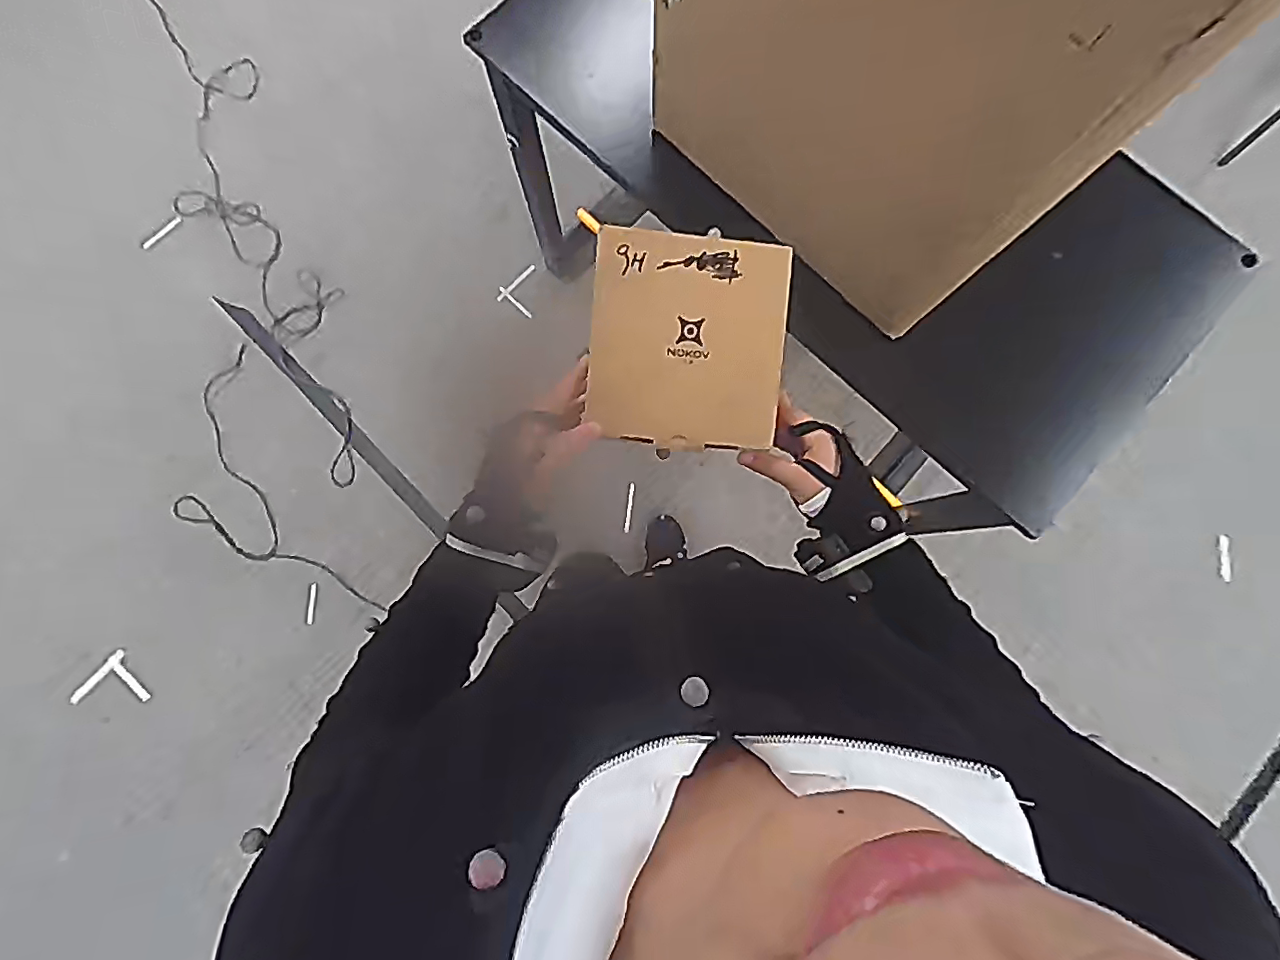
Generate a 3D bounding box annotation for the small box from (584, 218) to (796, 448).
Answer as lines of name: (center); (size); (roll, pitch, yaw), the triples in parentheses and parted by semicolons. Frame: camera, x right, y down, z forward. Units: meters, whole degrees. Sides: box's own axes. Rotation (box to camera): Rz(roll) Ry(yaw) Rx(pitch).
small box: (0.036, -0.130, 0.533); (0.168, 0.176, 0.179); (5, 97, -6)
